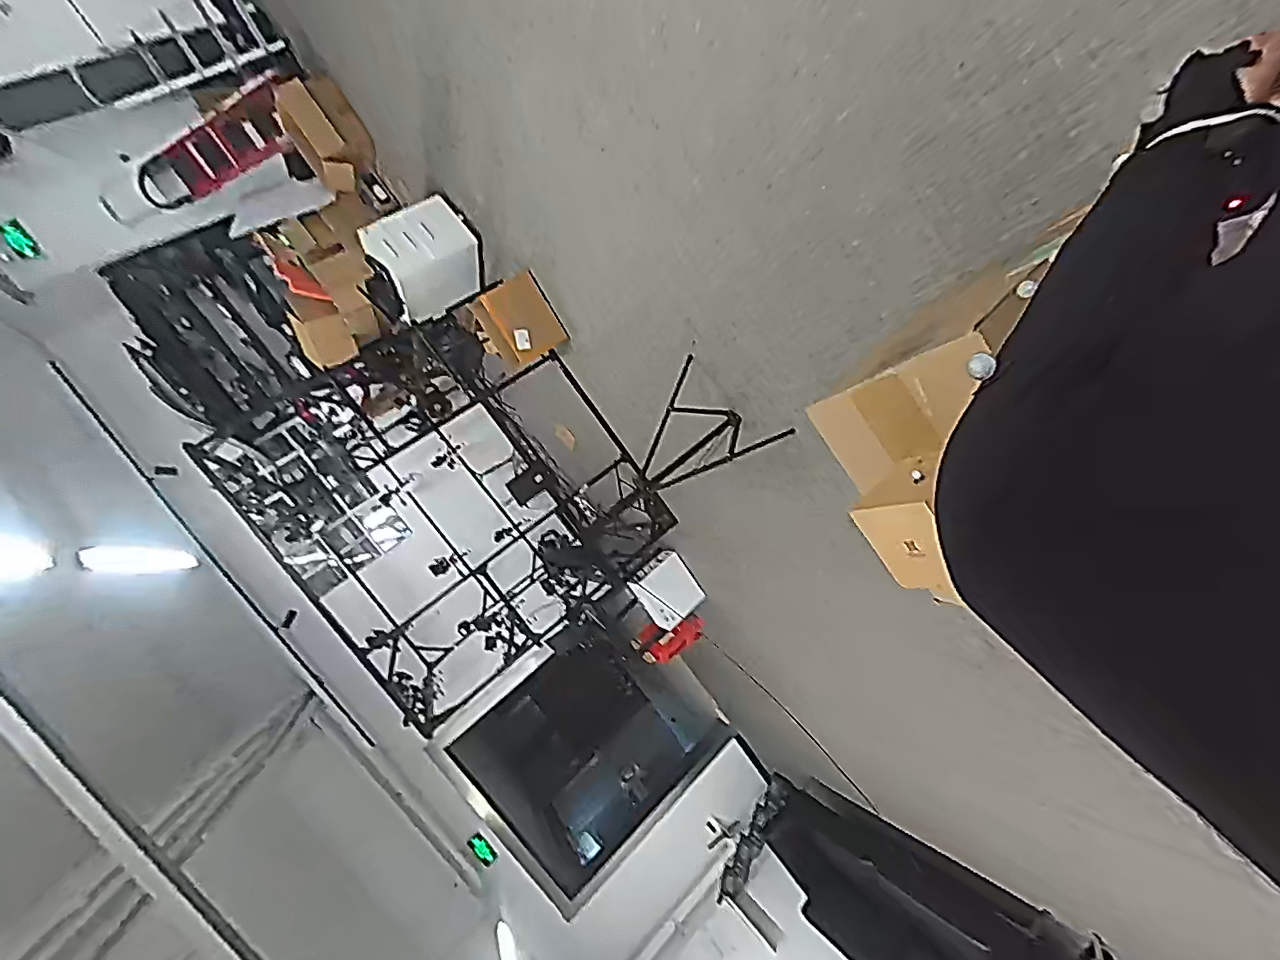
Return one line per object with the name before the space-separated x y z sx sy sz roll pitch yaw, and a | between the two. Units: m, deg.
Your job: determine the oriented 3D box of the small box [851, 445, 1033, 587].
small box | 0.502 0.057 0.907 0.179 0.176 0.168 52 159 -5
